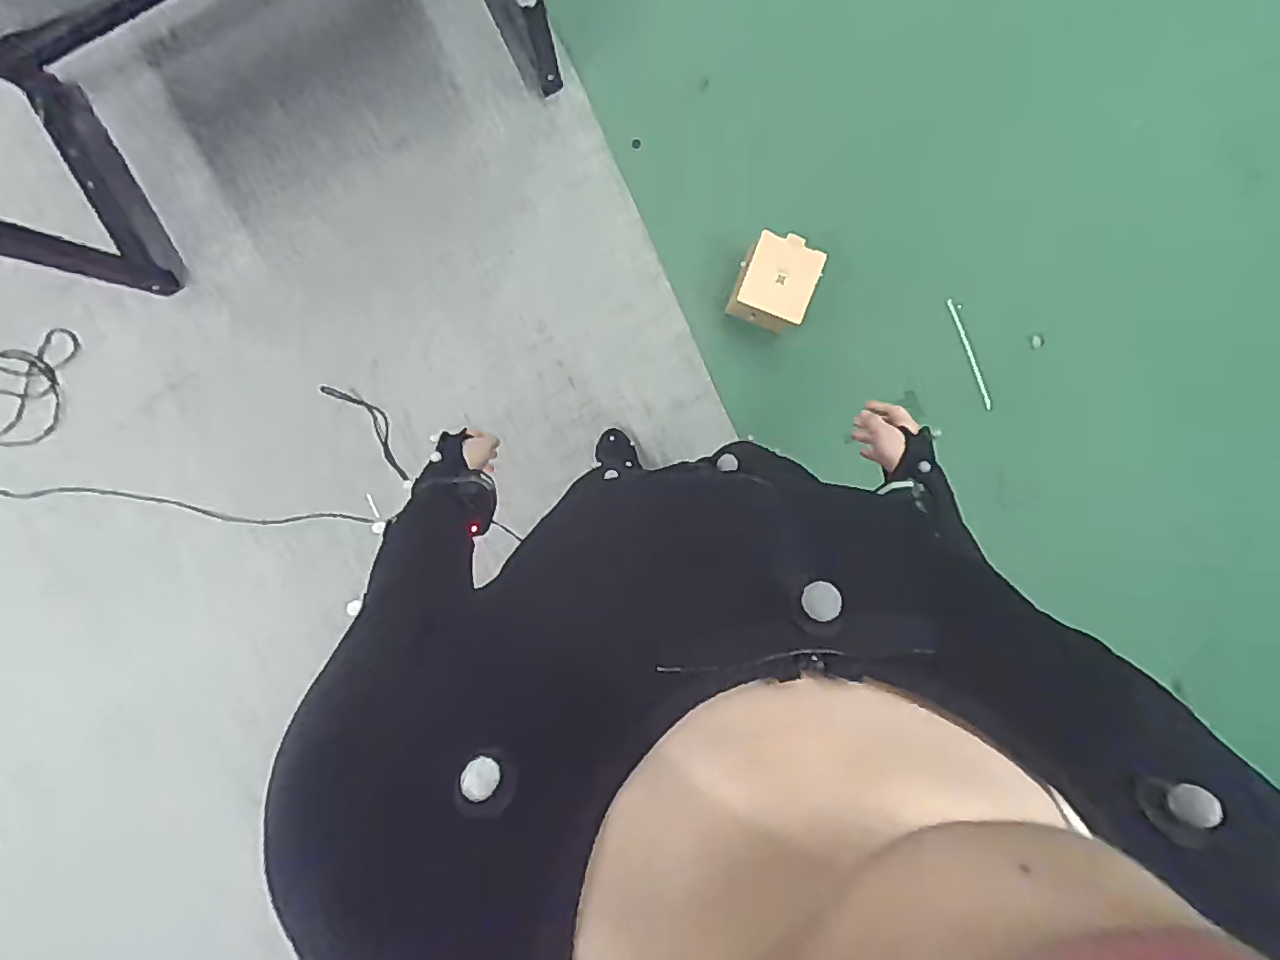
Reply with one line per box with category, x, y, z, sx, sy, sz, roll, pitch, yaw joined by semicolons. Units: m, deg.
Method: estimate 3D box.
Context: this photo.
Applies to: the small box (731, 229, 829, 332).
small box;0.337;-0.483;1.342;0.168;0.176;0.179;20;96;-2
